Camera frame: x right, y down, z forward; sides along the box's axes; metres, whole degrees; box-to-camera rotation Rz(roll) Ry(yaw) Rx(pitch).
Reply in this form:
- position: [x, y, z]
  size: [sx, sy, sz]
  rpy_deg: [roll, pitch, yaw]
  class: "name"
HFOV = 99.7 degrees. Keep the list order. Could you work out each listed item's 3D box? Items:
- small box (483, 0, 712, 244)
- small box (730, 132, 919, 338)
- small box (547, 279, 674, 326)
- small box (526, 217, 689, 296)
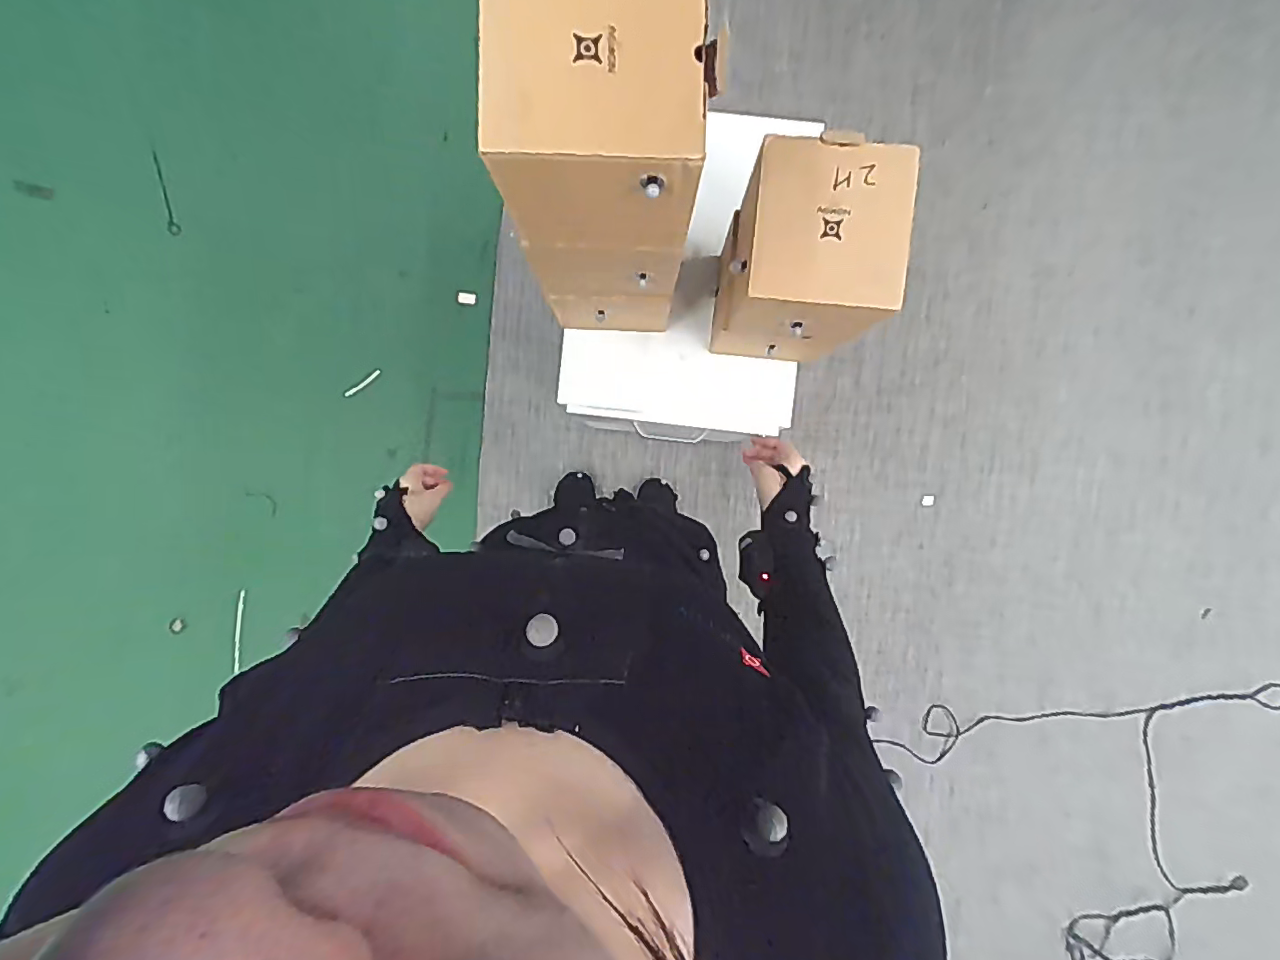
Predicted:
- position: [-0.034, -0.331, 0.493]
  size: [0.179, 0.176, 0.168]
  rpy_deg: [1, 91, -2]
  class: "small box"
- position: [0.207, -0.280, 0.656]
  size: [0.168, 0.176, 0.179]
  rpy_deg: [6, 92, 0]
  class: "small box"
- position: [-0.039, -0.336, 0.819]
  size: [0.179, 0.176, 0.168]
  rpy_deg: [2, 93, -2]
  class: "small box"
- position: [-0.037, -0.332, 0.656]
  size: [0.179, 0.176, 0.168]
  rpy_deg: [0, 91, -1]
  class: "small box"
